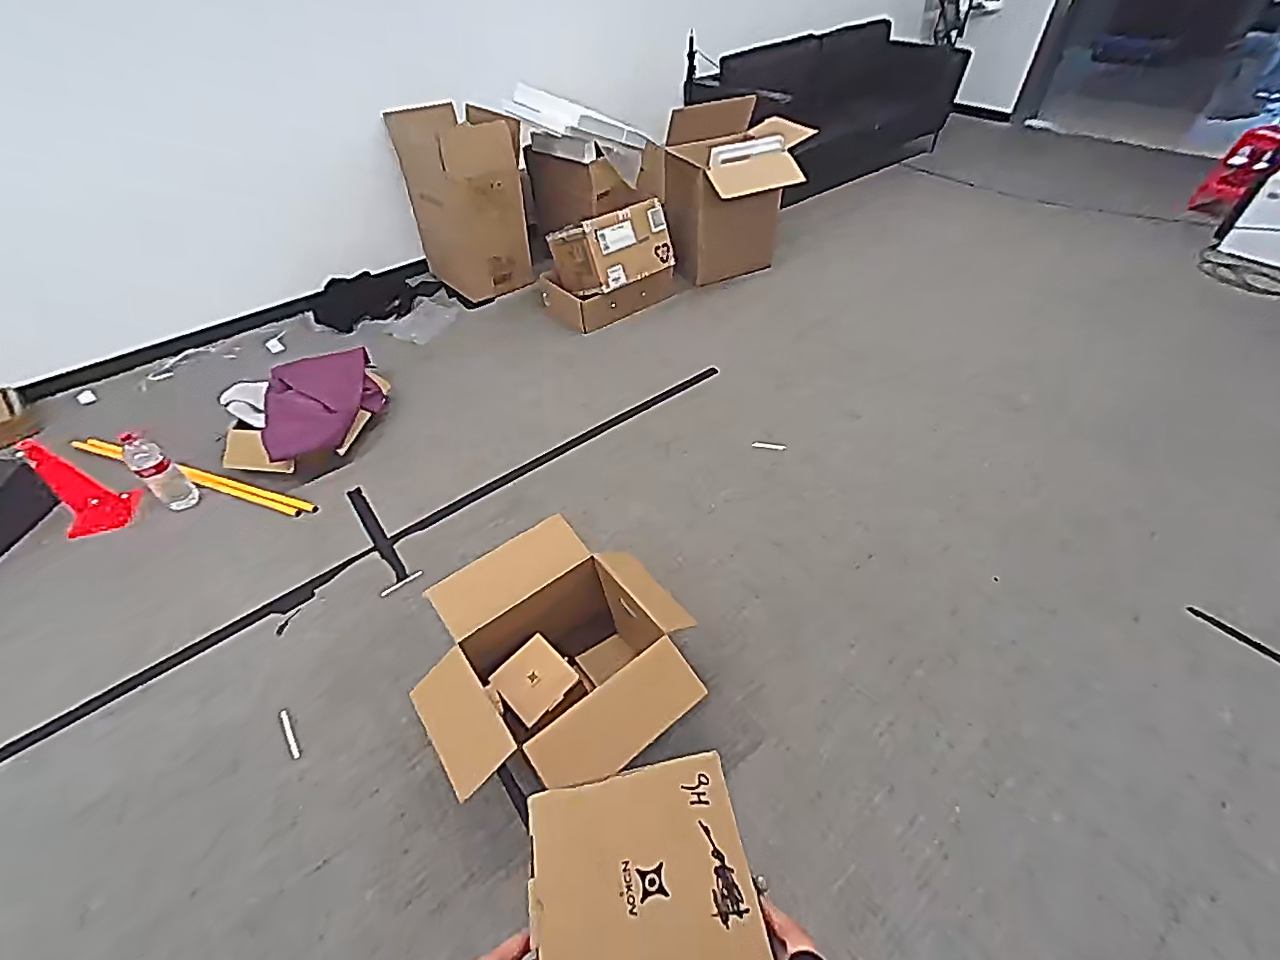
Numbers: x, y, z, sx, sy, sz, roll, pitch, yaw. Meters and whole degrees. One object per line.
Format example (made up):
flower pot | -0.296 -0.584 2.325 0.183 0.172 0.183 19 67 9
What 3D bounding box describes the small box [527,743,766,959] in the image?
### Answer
small box | 0.006 0.371 0.501 0.179 0.176 0.168 -12 49 -3
